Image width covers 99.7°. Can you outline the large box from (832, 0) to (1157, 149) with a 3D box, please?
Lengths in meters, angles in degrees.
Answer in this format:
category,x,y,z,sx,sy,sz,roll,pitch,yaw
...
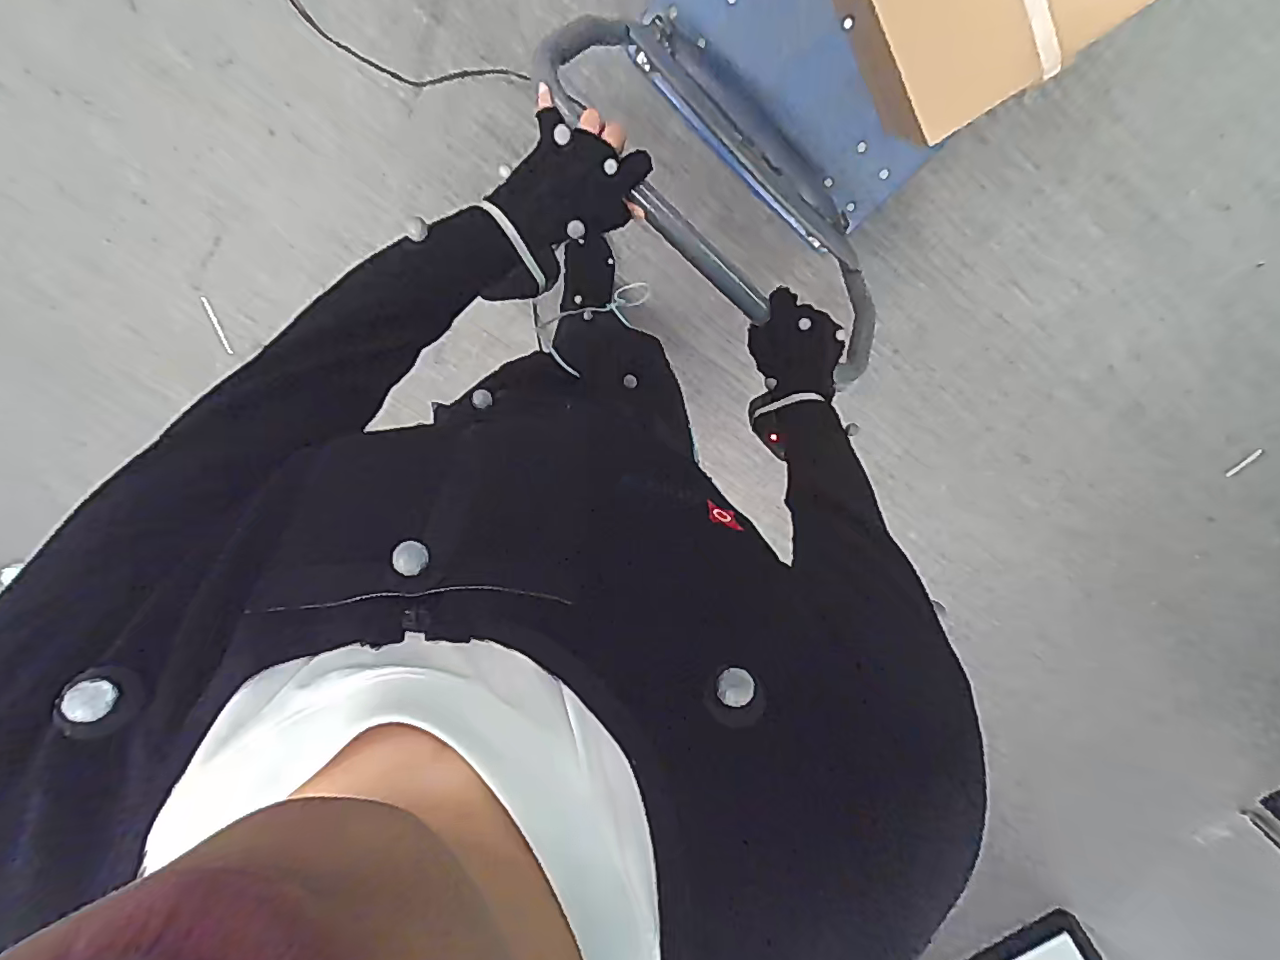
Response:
category,x,y,z,sx,sy,sz,roll,pitch,yaw
large box,0.455,-0.772,0.773,0.320,0.320,0.408,-26,116,27
